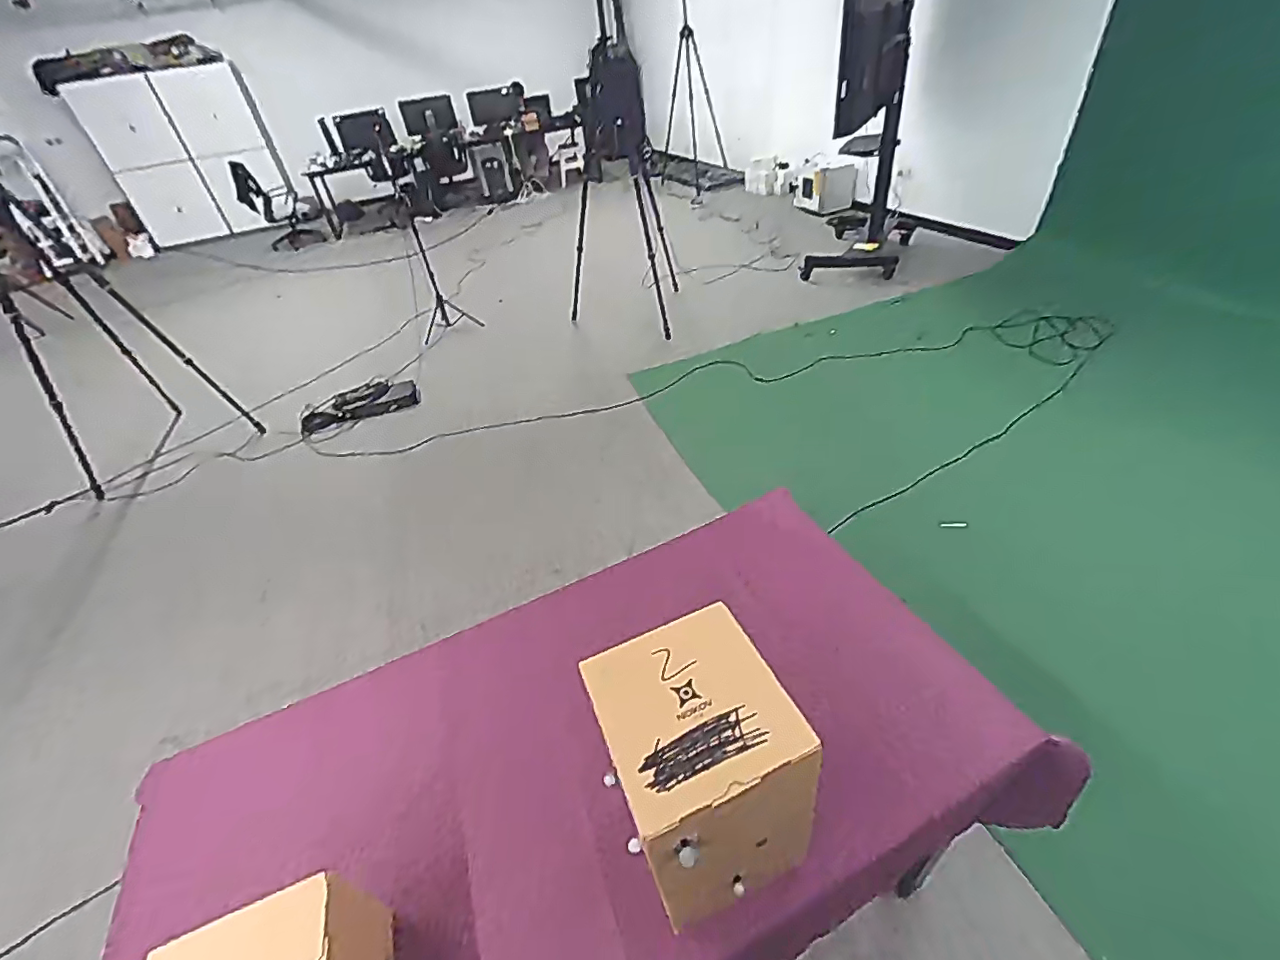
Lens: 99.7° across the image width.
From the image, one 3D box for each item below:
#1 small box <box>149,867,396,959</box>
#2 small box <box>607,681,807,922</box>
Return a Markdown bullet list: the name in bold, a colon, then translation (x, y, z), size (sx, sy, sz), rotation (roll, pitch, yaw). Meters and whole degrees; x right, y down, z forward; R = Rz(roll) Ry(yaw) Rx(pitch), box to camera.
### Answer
- **small box**: translation (-0.369, 0.546, 0.548), size (0.179, 0.176, 0.168), rotation (-20, 40, -13)
- **small box**: translation (0.077, 0.385, 0.654), size (0.179, 0.176, 0.168), rotation (-21, 40, -12)
